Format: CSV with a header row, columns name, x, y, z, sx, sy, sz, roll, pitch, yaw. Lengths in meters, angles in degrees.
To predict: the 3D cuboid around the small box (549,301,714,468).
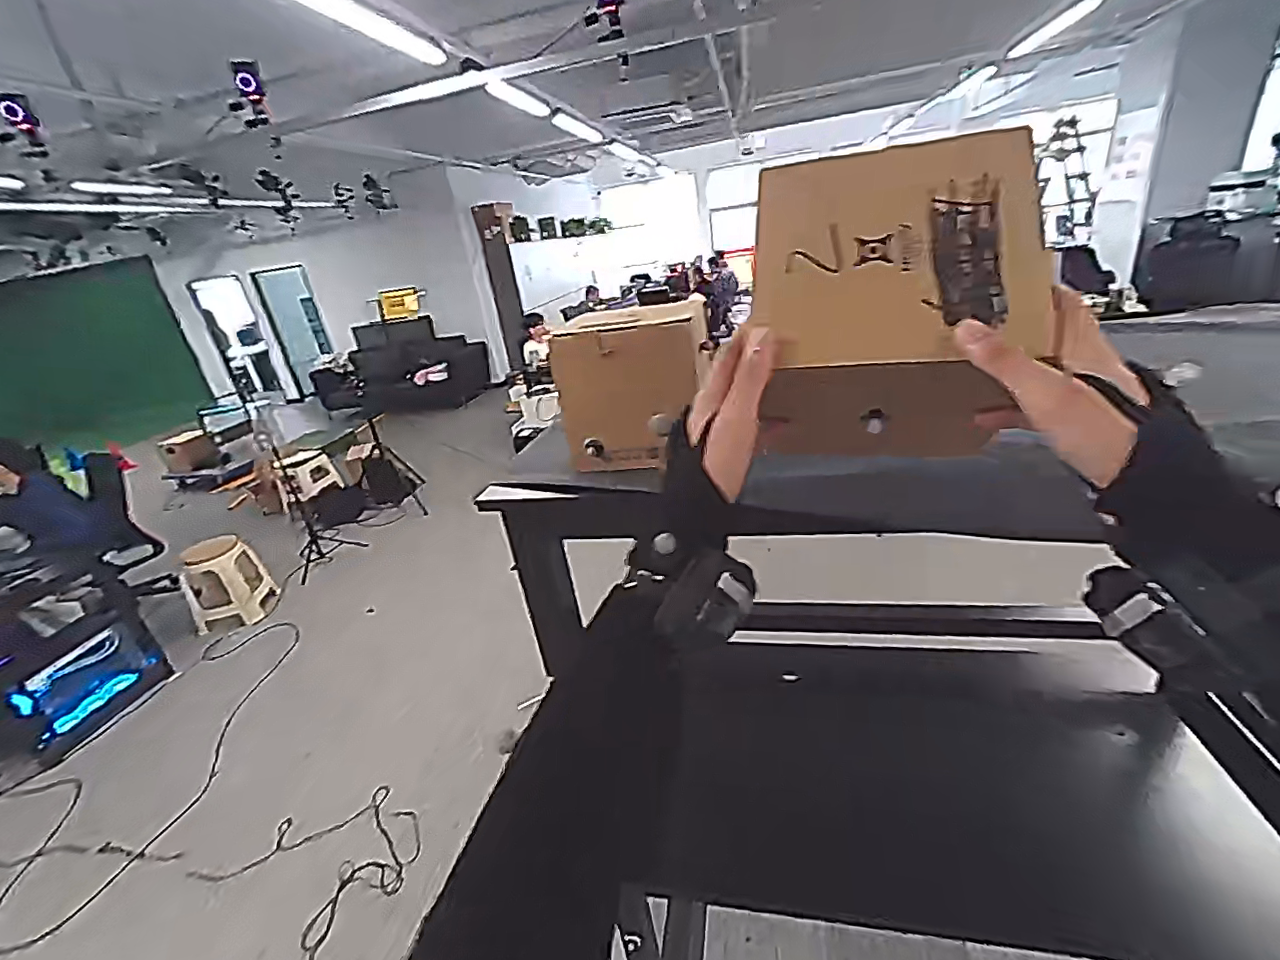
name,x,y,z,sx,sy,sz,roll,pitch,yaw
small box,0.004,-0.119,0.686,0.168,0.176,0.179,-3,24,12
